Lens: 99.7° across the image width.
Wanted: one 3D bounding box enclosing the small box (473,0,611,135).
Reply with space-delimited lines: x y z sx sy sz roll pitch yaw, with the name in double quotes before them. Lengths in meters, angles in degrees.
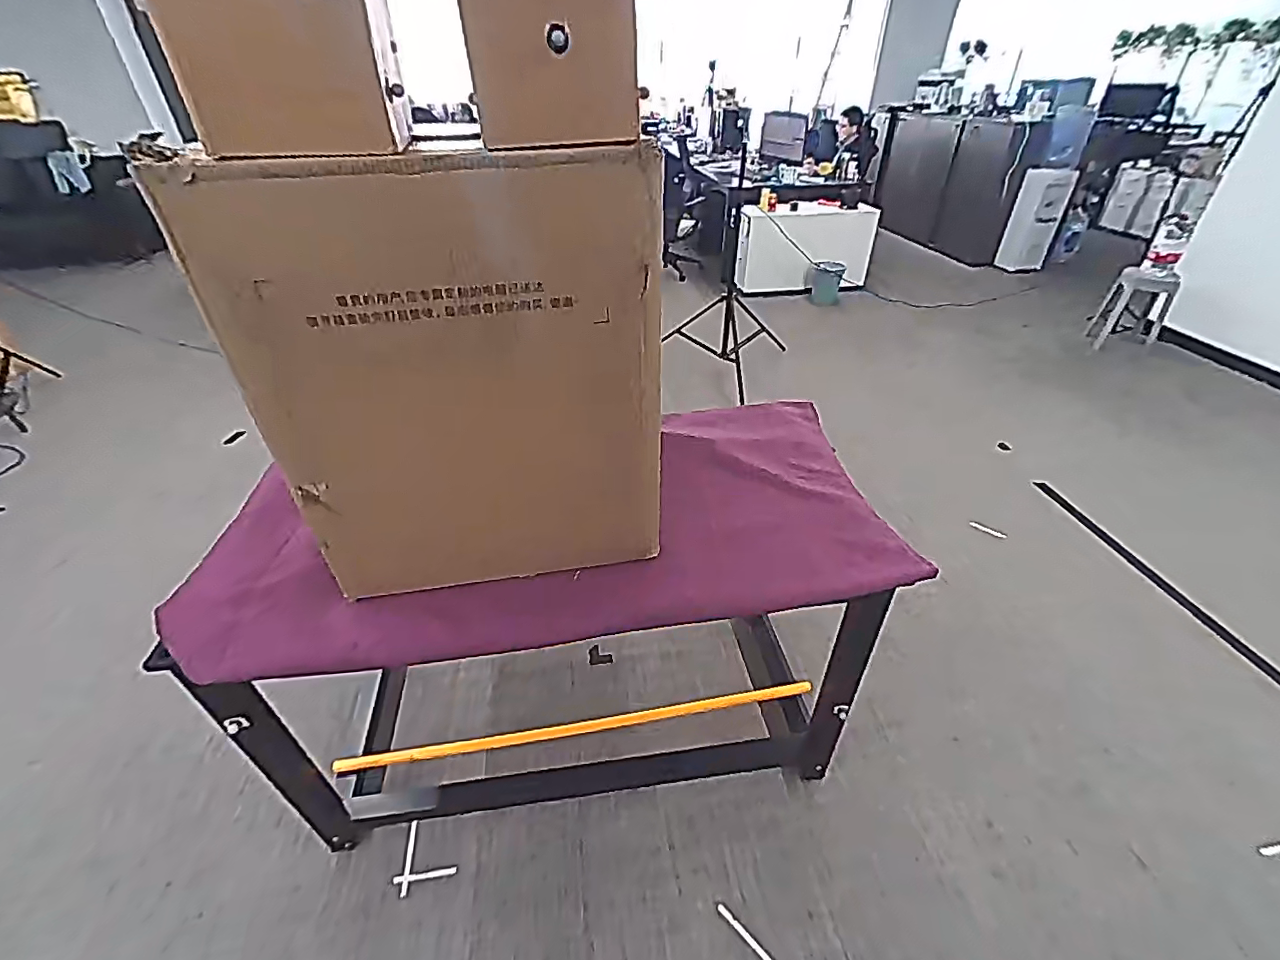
"small box" -0.132 -0.587 0.755 0.168 0.176 0.179 -6 37 -5
